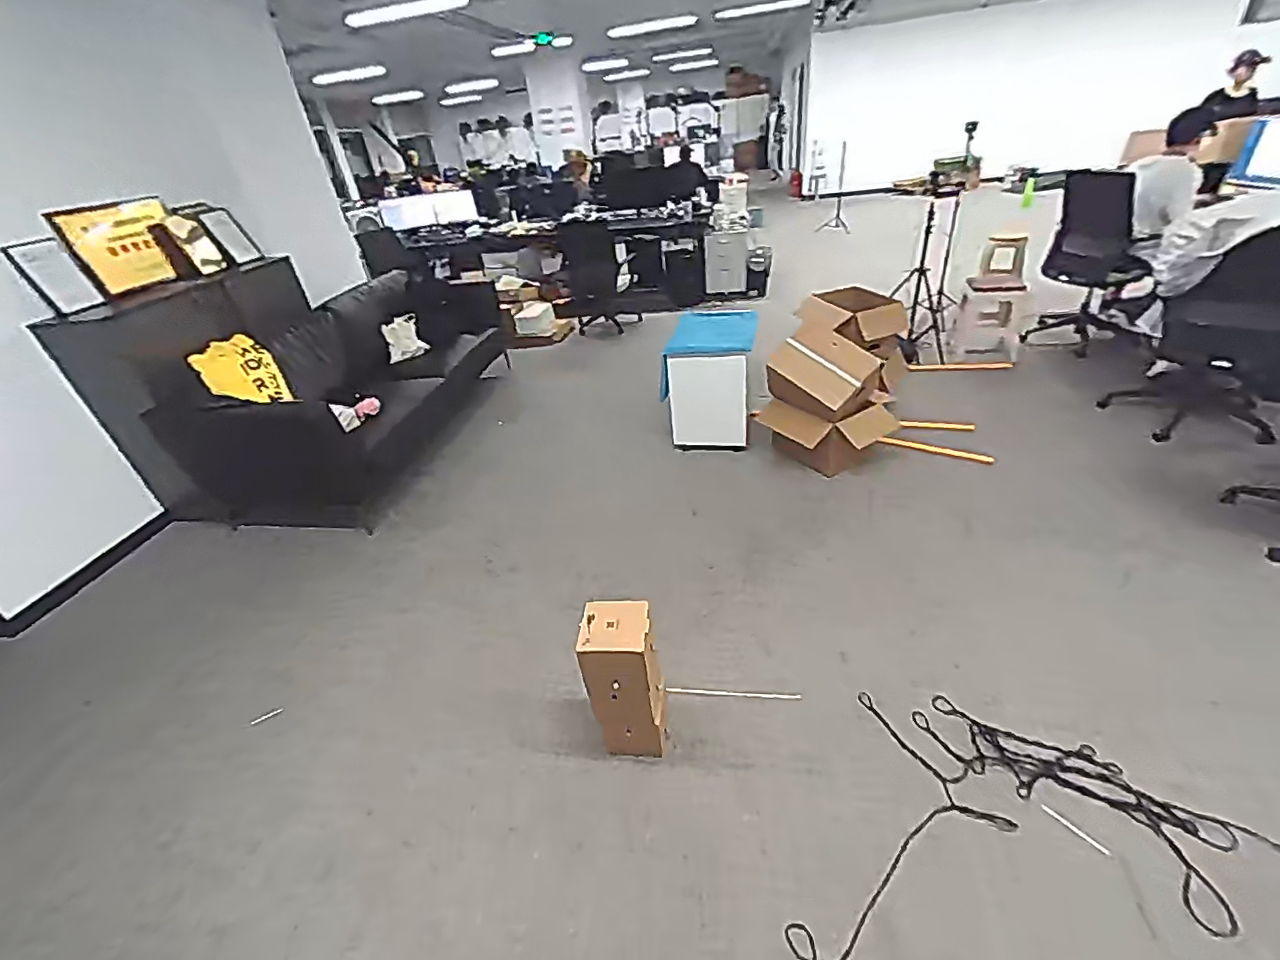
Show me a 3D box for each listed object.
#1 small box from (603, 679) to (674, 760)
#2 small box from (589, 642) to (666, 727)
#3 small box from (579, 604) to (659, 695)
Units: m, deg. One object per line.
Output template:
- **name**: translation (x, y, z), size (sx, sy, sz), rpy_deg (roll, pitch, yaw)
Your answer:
- **small box**: translation (0.001, 0.714, 1.619), size (0.179, 0.176, 0.168), rpy_deg (-1, 34, 11)
- **small box**: translation (-0.029, 0.577, 1.533), size (0.179, 0.176, 0.168), rpy_deg (-1, 34, 11)
- **small box**: translation (-0.047, 0.449, 1.431), size (0.179, 0.176, 0.168), rpy_deg (-2, 33, 9)
